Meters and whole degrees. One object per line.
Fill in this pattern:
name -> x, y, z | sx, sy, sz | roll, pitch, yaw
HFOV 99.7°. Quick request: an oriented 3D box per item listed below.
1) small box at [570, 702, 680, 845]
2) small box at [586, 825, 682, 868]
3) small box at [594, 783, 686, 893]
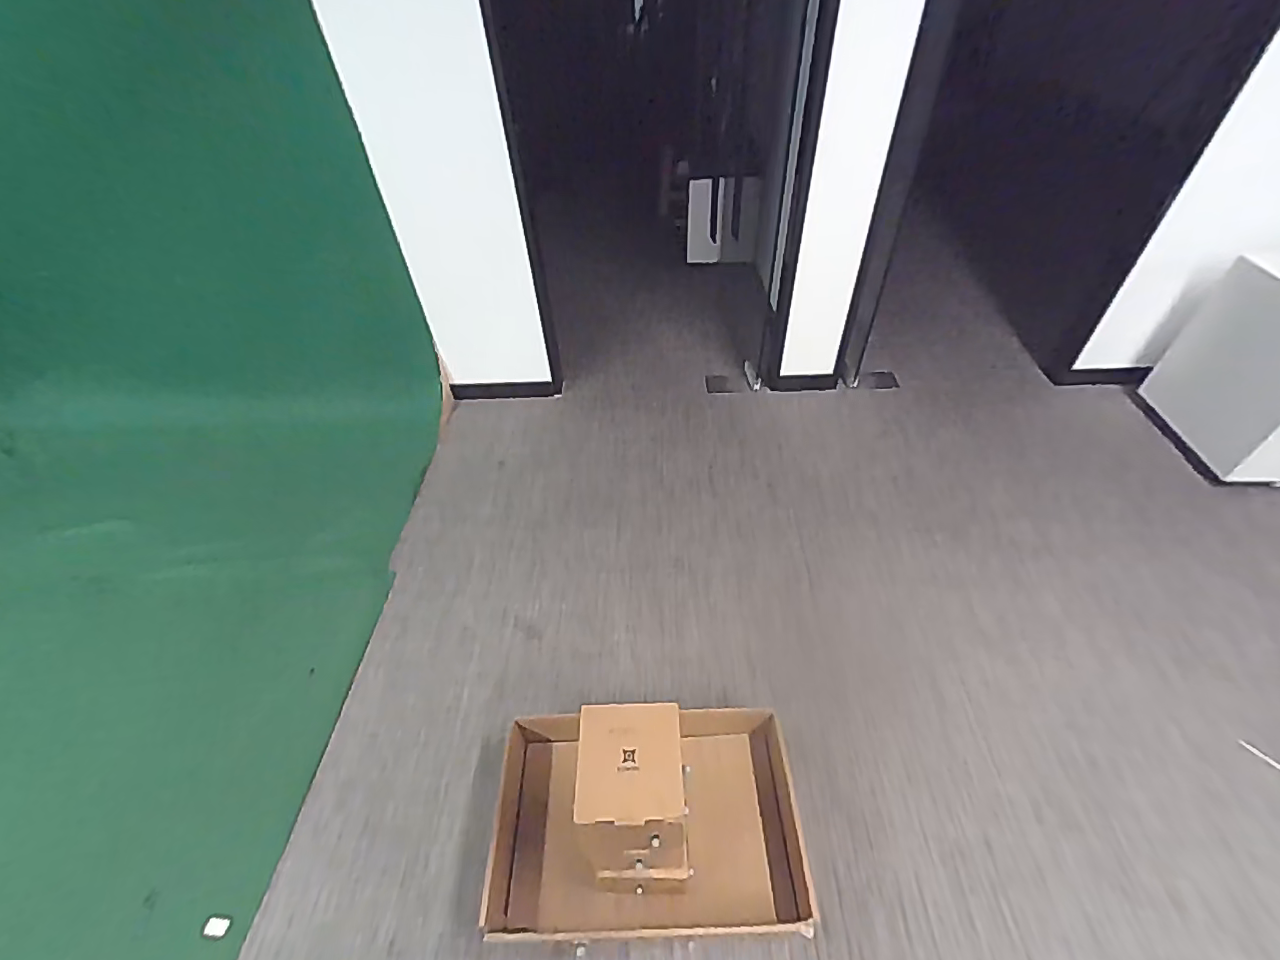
small box -> -0.018, 0.495, 0.907 | 0.168, 0.176, 0.179 | -2, 43, 1
small box -> -0.009, 0.624, 1.036 | 0.168, 0.176, 0.179 | -5, 44, 1
small box -> 0.006, 0.749, 1.135 | 0.179, 0.176, 0.168 | -2, 43, 4
